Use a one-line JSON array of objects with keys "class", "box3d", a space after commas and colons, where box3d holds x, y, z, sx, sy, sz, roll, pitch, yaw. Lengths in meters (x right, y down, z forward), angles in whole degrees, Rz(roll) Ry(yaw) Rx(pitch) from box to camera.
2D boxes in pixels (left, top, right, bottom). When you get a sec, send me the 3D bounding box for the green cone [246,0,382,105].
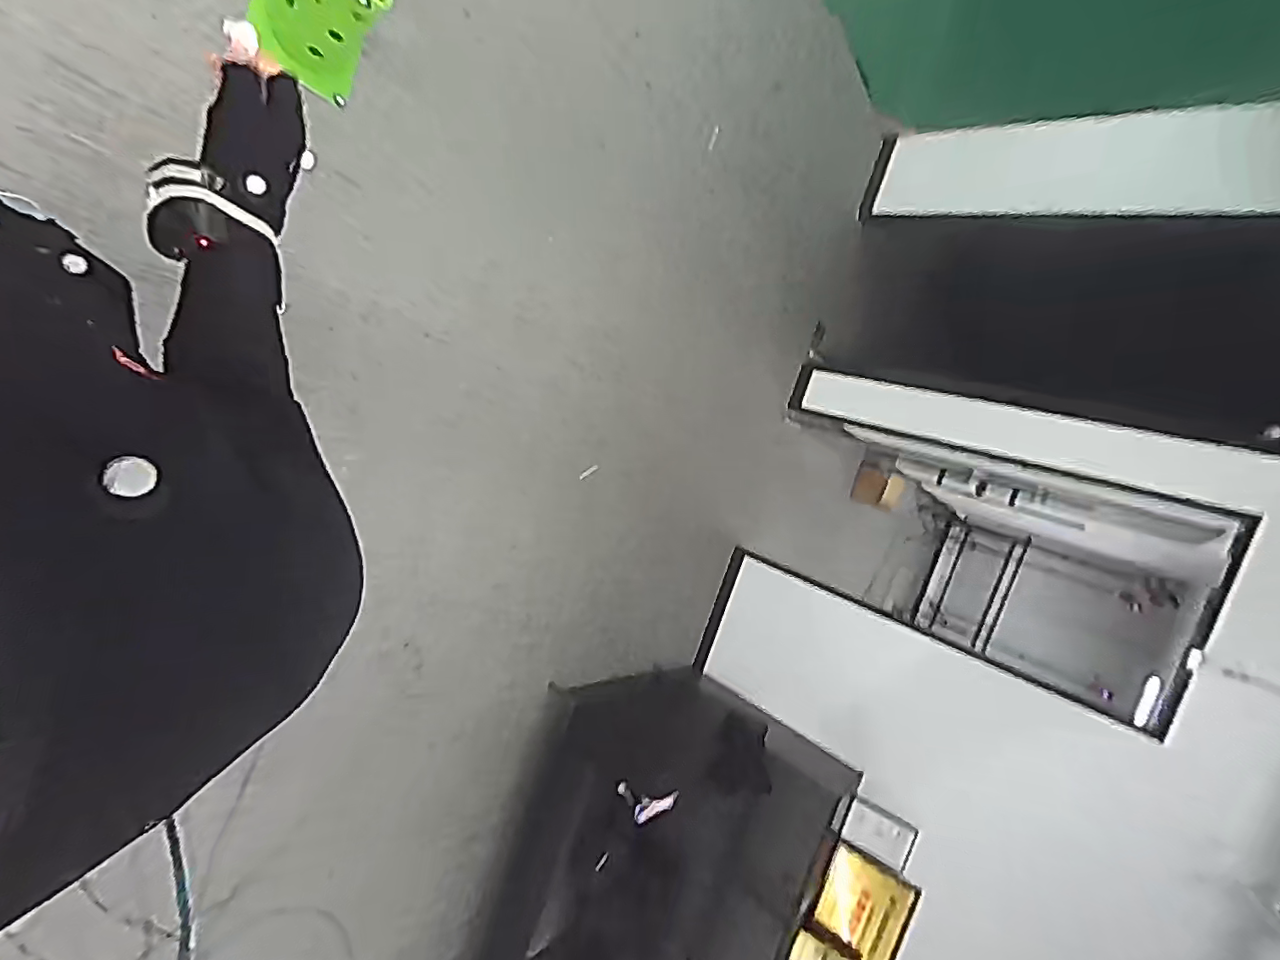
[{"class": "green cone", "box3d": [-0.575, -0.899, 1.036, 0.202, 0.368, 0.200, 12, 98, -50]}]
